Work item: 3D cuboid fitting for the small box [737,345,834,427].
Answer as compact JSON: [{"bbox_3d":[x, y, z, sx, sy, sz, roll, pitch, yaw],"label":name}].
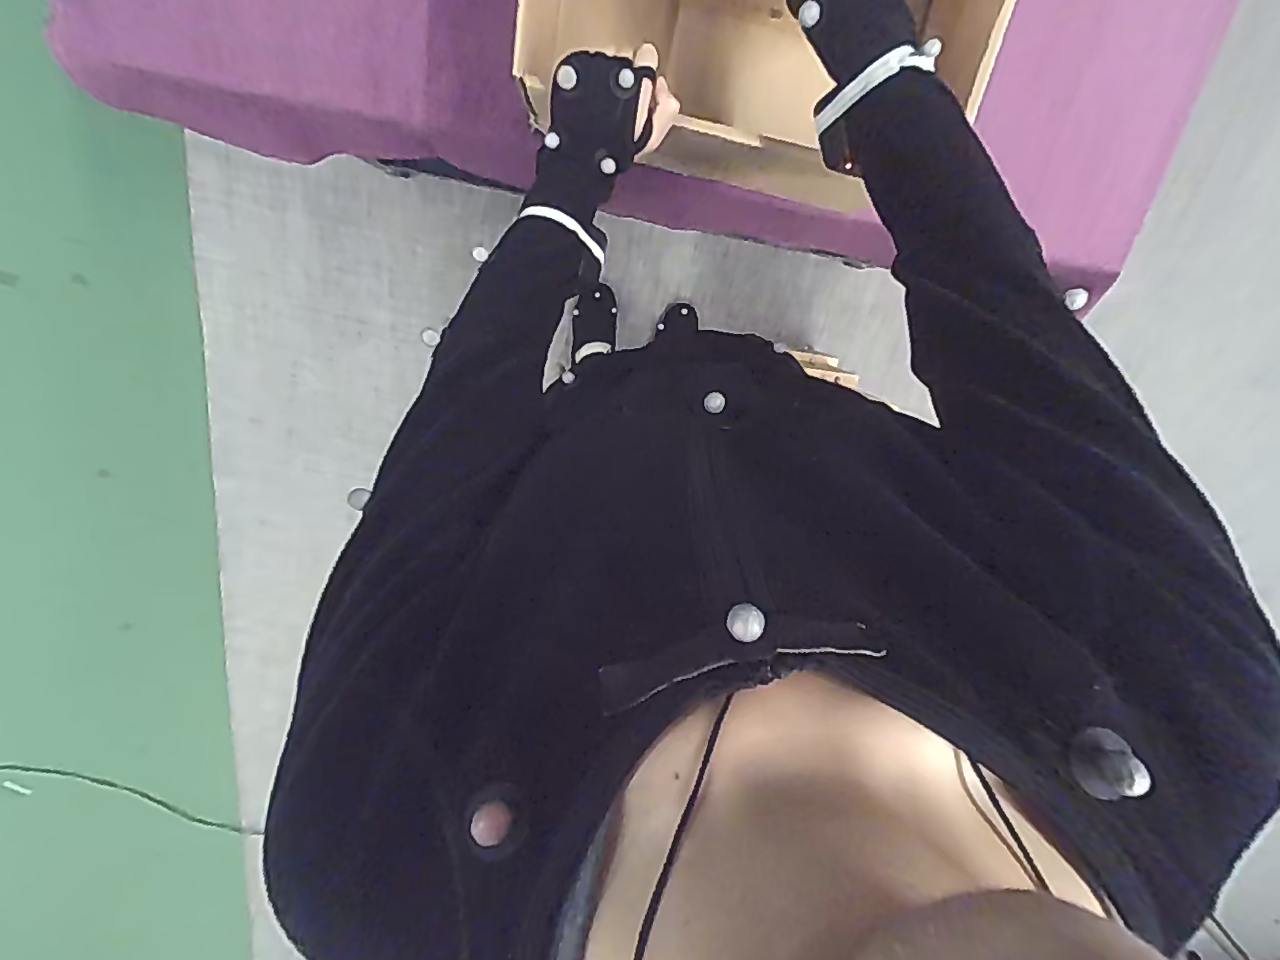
[{"bbox_3d":[0.367,-0.247,1.394,0.179,0.176,0.168,8,109,-6],"label":"small box"}]
